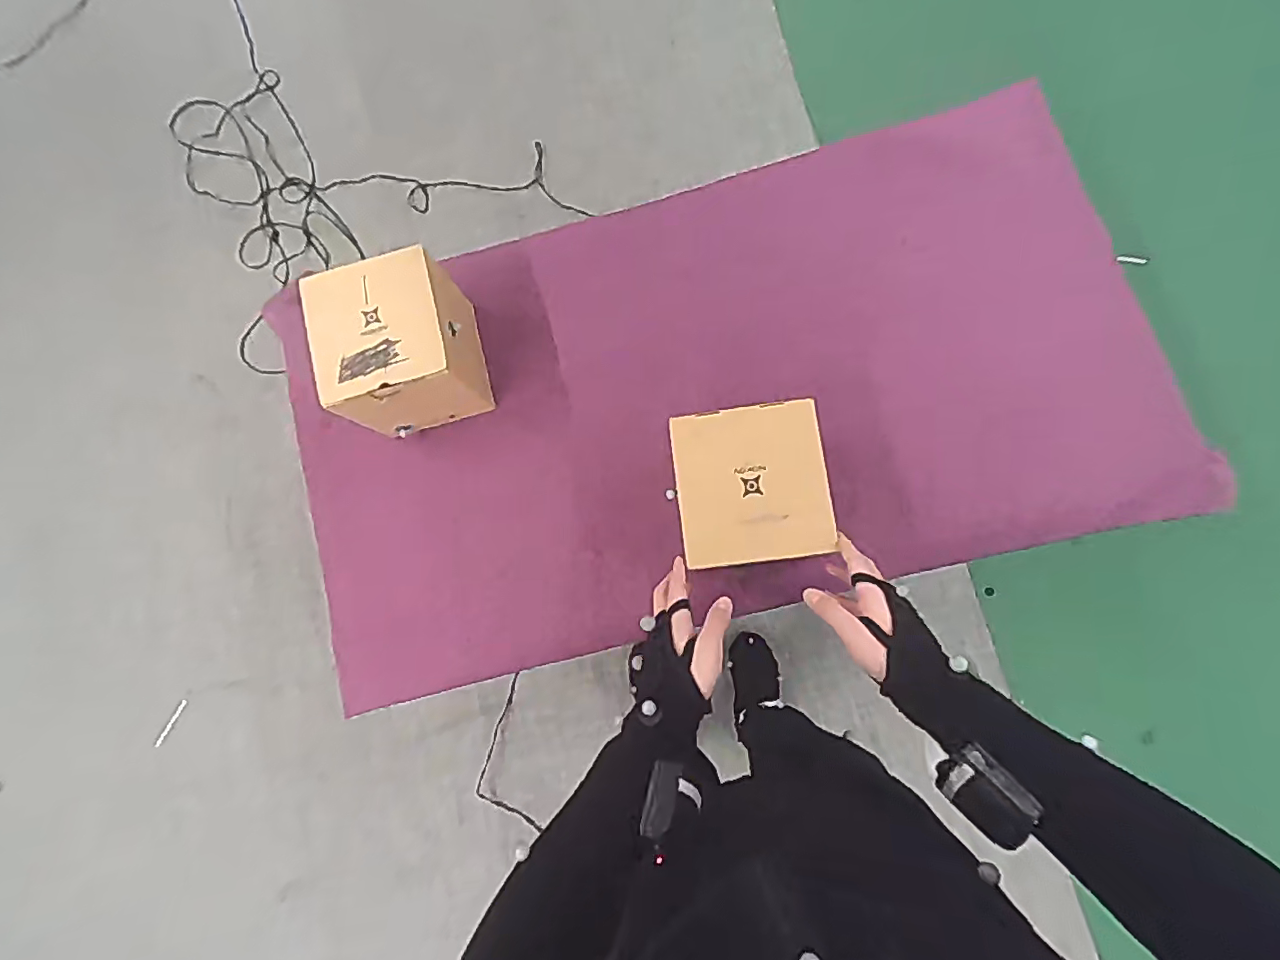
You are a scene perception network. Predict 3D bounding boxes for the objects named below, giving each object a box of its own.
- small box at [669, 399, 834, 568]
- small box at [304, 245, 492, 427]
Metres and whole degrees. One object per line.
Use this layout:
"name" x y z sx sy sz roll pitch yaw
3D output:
"small box" 0.128 0.015 0.676 0.168 0.176 0.179 -7 80 6
"small box" -0.320 -0.182 0.746 0.168 0.176 0.179 -15 80 2
